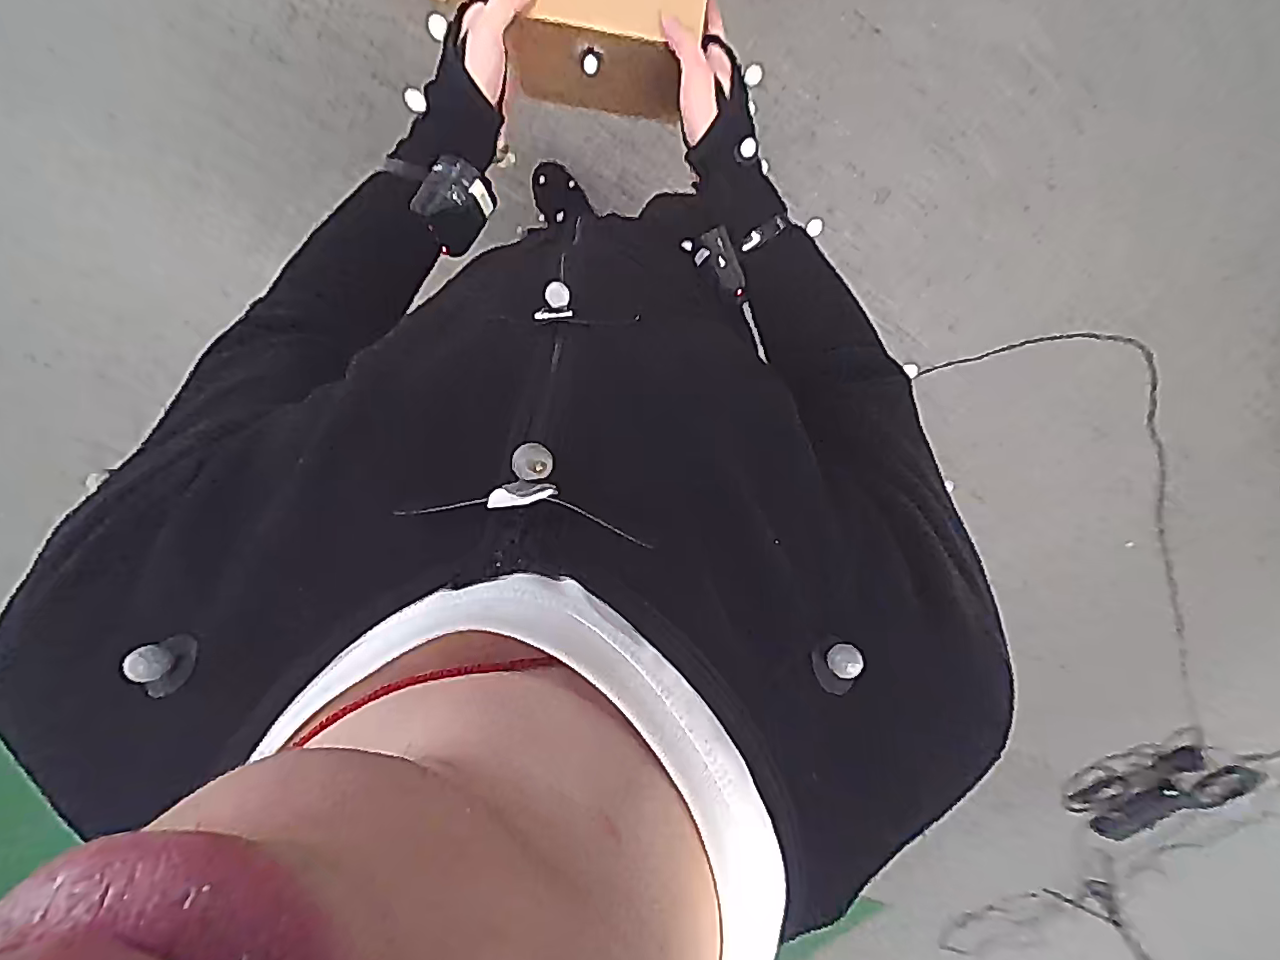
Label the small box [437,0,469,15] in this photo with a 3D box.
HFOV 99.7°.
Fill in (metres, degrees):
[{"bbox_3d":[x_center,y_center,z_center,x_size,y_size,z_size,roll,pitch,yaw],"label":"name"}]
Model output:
[{"bbox_3d":[-0.384,-1.025,1.001,0.168,0.176,0.179,29,113,-20],"label":"small box"}]
